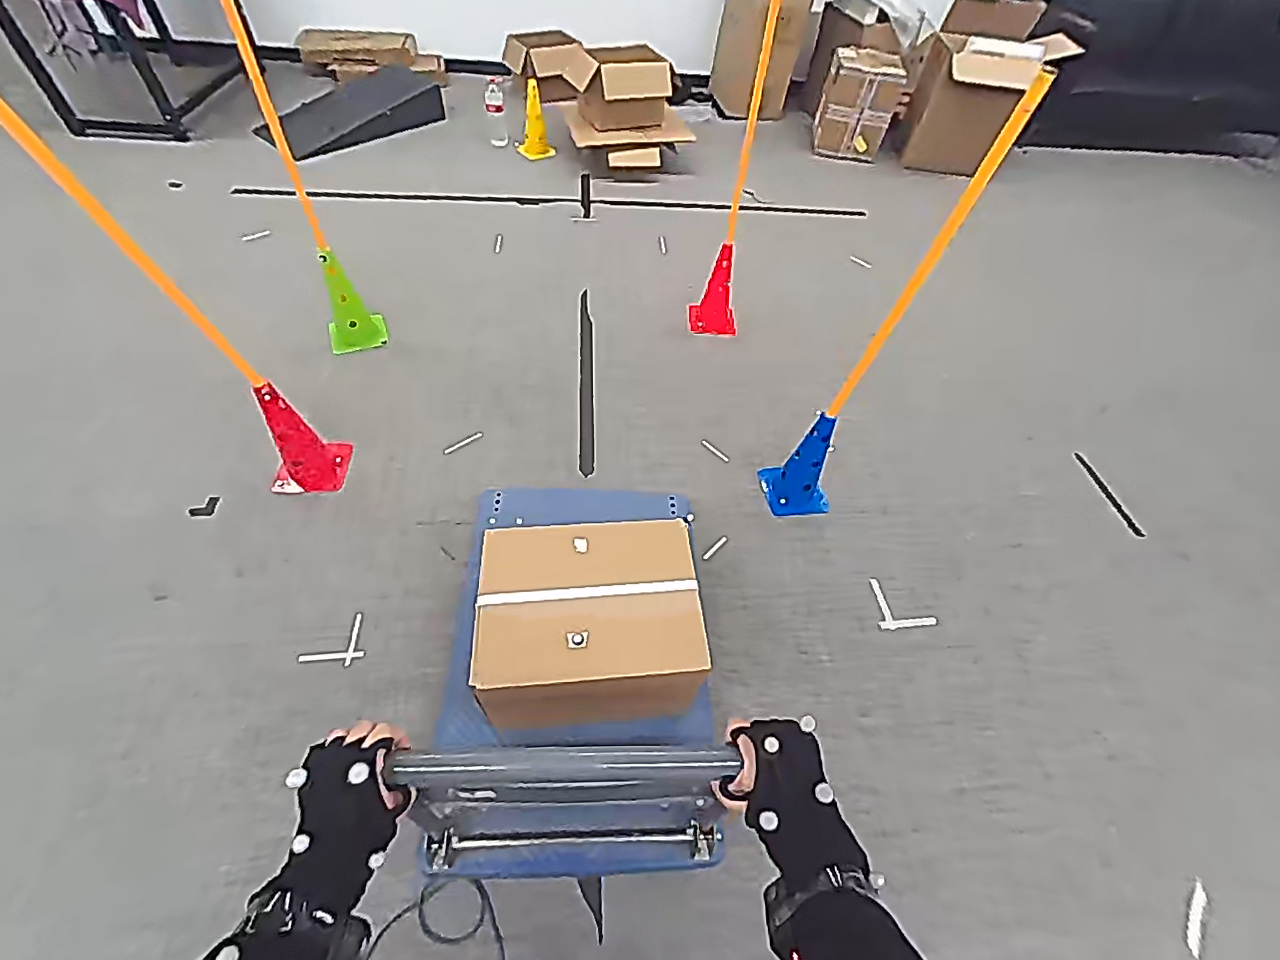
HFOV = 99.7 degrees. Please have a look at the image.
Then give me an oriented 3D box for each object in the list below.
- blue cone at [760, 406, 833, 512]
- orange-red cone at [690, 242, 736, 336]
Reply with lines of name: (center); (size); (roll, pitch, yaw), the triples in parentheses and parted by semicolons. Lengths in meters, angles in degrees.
blue cone: (0.526, -0.075, 1.688); (0.193, 0.380, 0.192); (-4, 52, -9)
orange-red cone: (0.330, -0.797, 2.209); (0.199, 0.360, 0.198); (5, 53, -3)
